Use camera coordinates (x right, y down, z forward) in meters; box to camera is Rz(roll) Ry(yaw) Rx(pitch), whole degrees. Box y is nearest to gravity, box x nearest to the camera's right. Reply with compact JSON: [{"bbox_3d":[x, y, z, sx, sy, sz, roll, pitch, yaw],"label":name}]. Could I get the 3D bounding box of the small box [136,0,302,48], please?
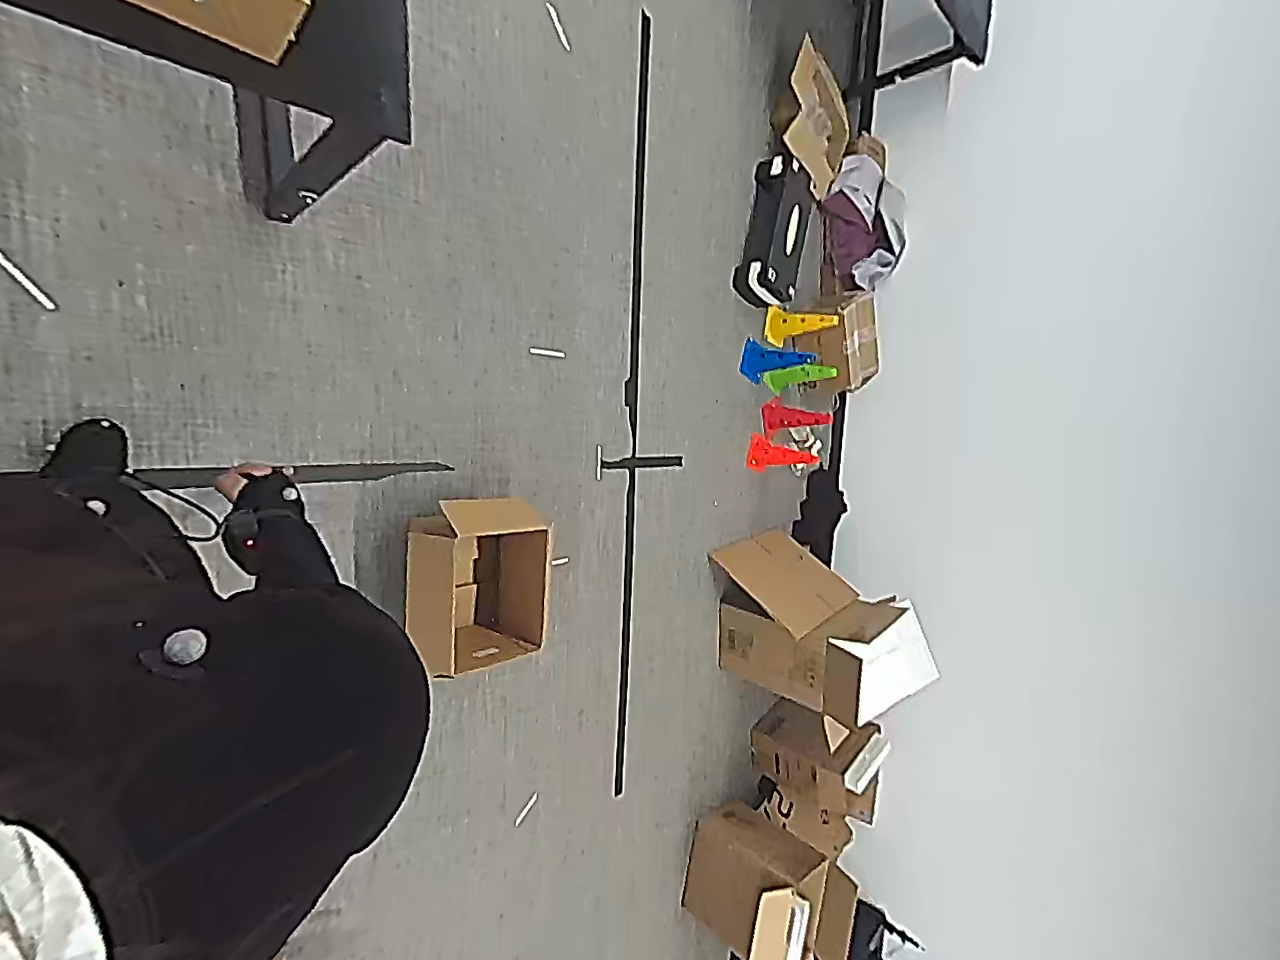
[{"bbox_3d":[-0.491,-0.627,0.595,0.179,0.176,0.168,-3,99,-44],"label":"small box"}]
